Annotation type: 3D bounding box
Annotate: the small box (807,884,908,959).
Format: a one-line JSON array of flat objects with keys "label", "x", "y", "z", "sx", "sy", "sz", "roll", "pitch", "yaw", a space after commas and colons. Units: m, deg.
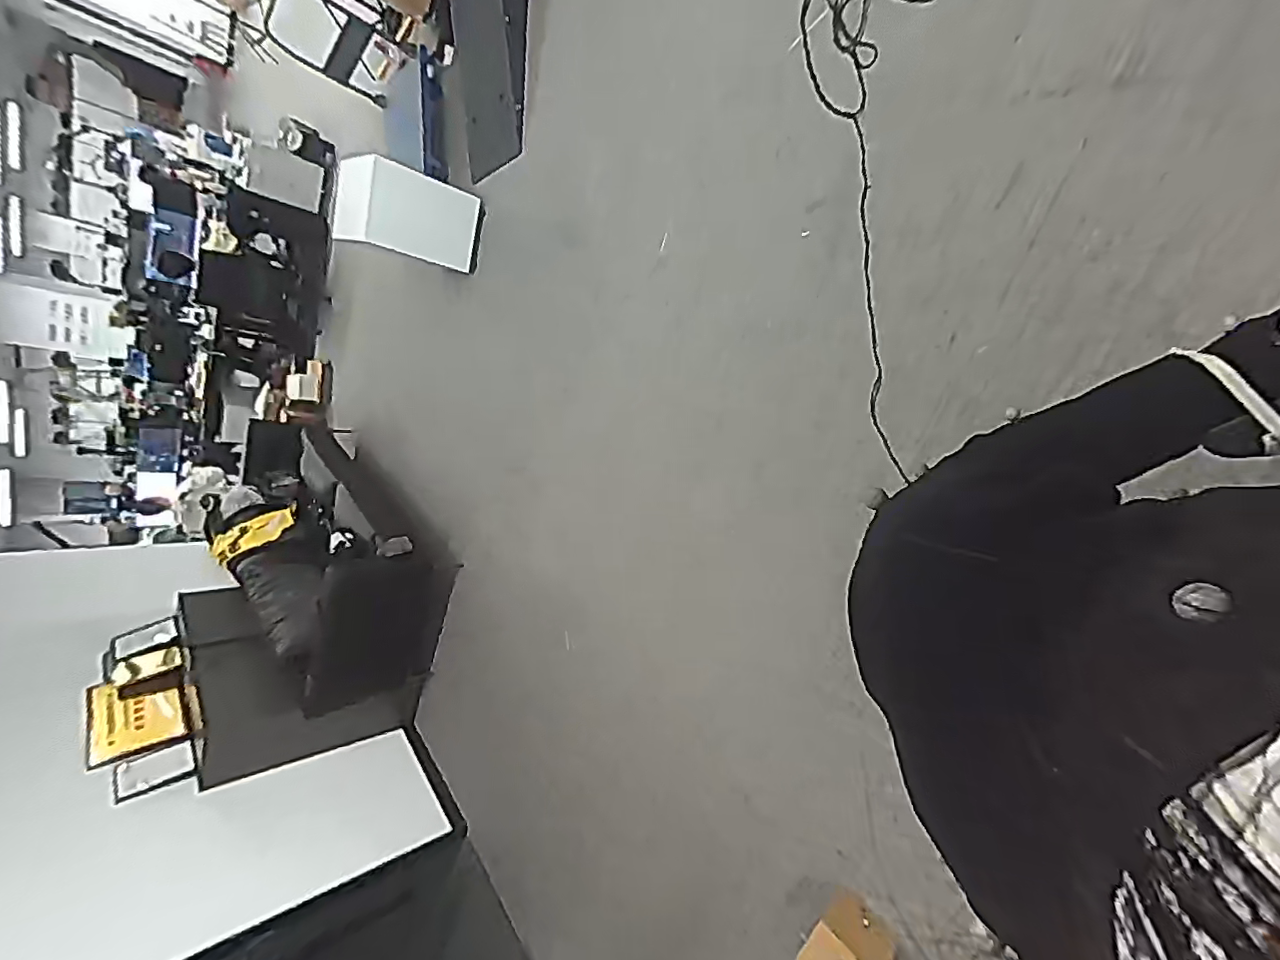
[{"label": "small box", "x": 0.591, "y": 1.258, "z": 1.462, "sx": 0.168, "sy": 0.176, "sz": 0.179, "roll": 35, "pitch": 113, "yaw": 38}]
